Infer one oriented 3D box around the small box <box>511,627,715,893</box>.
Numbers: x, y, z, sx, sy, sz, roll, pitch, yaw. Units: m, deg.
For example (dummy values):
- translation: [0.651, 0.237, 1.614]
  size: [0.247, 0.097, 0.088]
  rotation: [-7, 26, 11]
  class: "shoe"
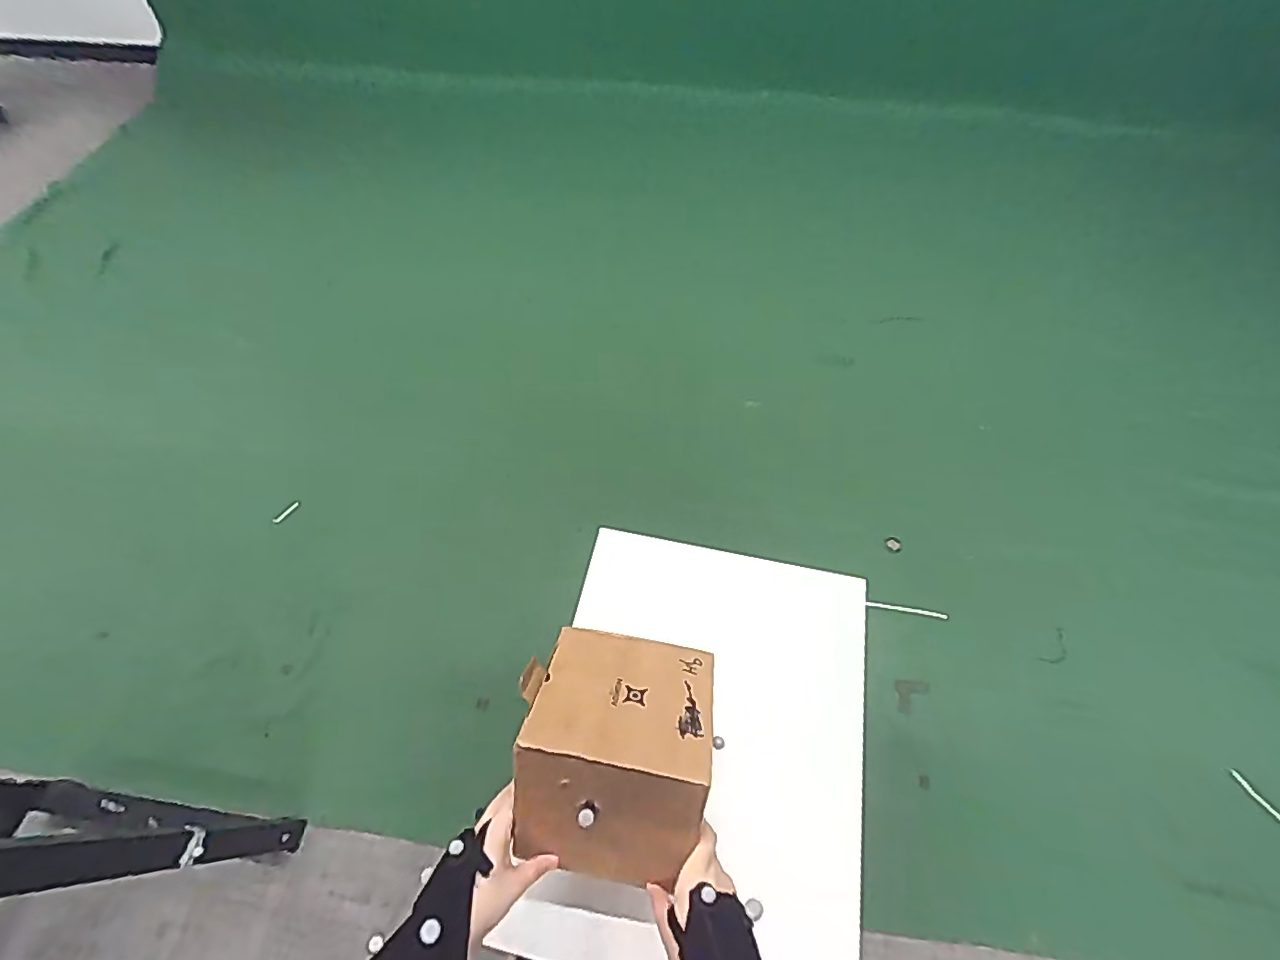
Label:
- translation: [-0.022, 0.282, 0.559]
  size: [0.179, 0.176, 0.168]
  rotation: [9, 25, 5]
  class: "small box"
